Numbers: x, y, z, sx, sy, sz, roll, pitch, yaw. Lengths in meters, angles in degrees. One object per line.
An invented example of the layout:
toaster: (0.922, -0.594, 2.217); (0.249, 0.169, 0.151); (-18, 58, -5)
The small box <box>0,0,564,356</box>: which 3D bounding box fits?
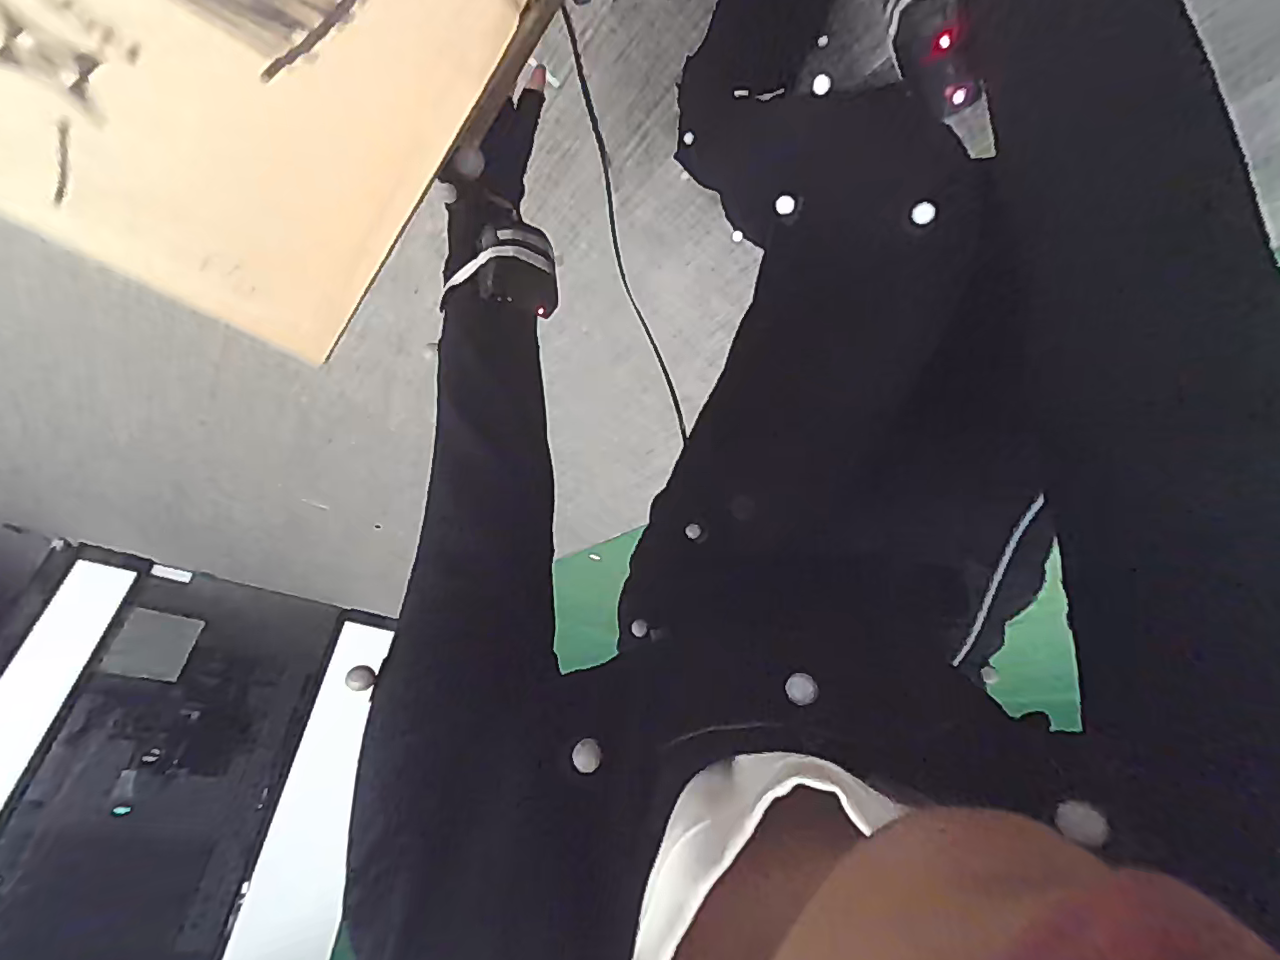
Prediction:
small box: (-0.129, -0.180, 0.172); (0.168, 0.176, 0.179); (30, 145, -34)
